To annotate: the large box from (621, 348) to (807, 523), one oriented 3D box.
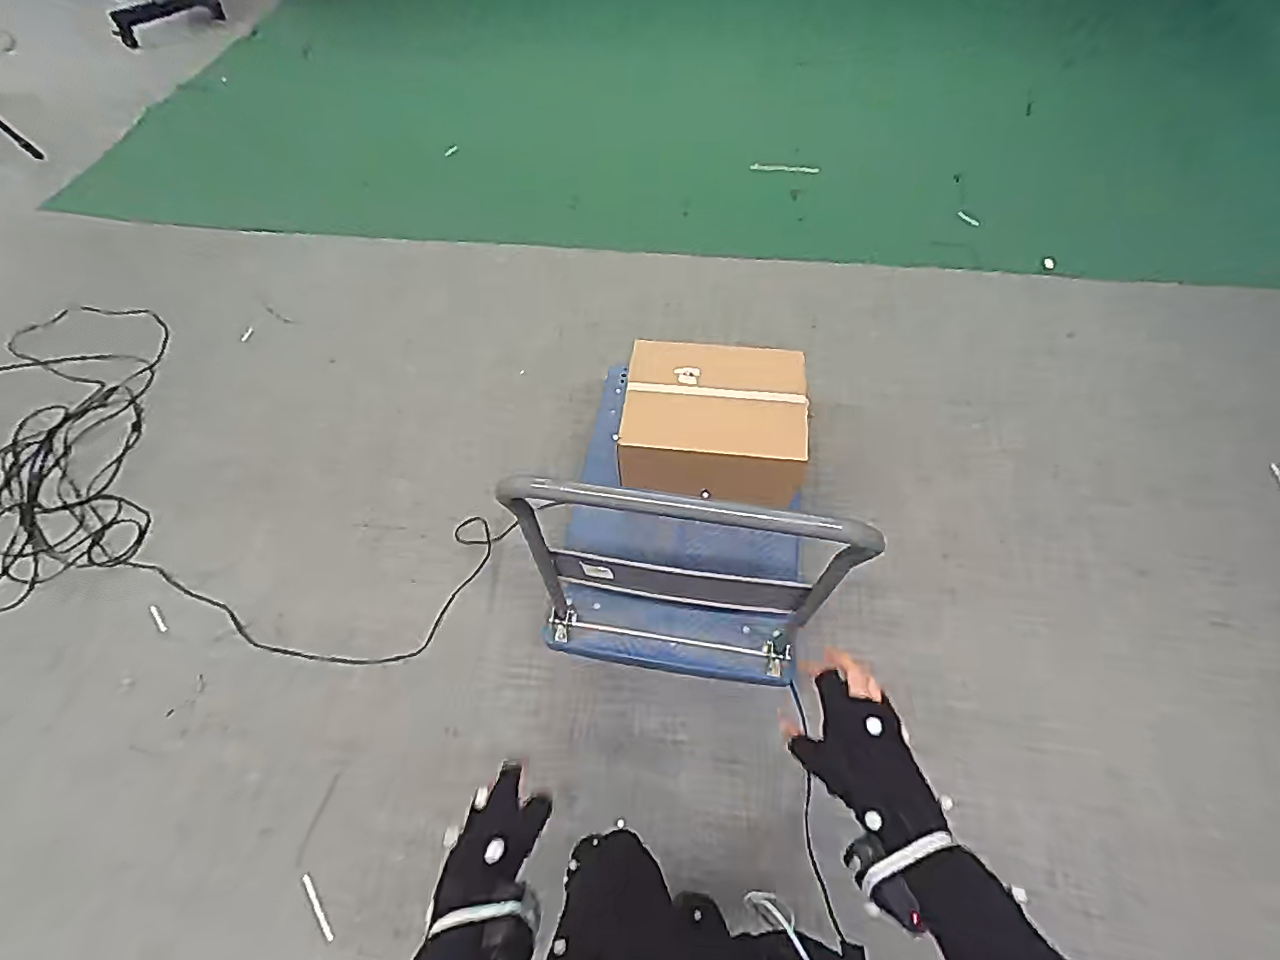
[{"bbox_3d":[0.177,-0.104,1.358,0.408,0.320,0.320,5,58,5],"label":"large box"}]
